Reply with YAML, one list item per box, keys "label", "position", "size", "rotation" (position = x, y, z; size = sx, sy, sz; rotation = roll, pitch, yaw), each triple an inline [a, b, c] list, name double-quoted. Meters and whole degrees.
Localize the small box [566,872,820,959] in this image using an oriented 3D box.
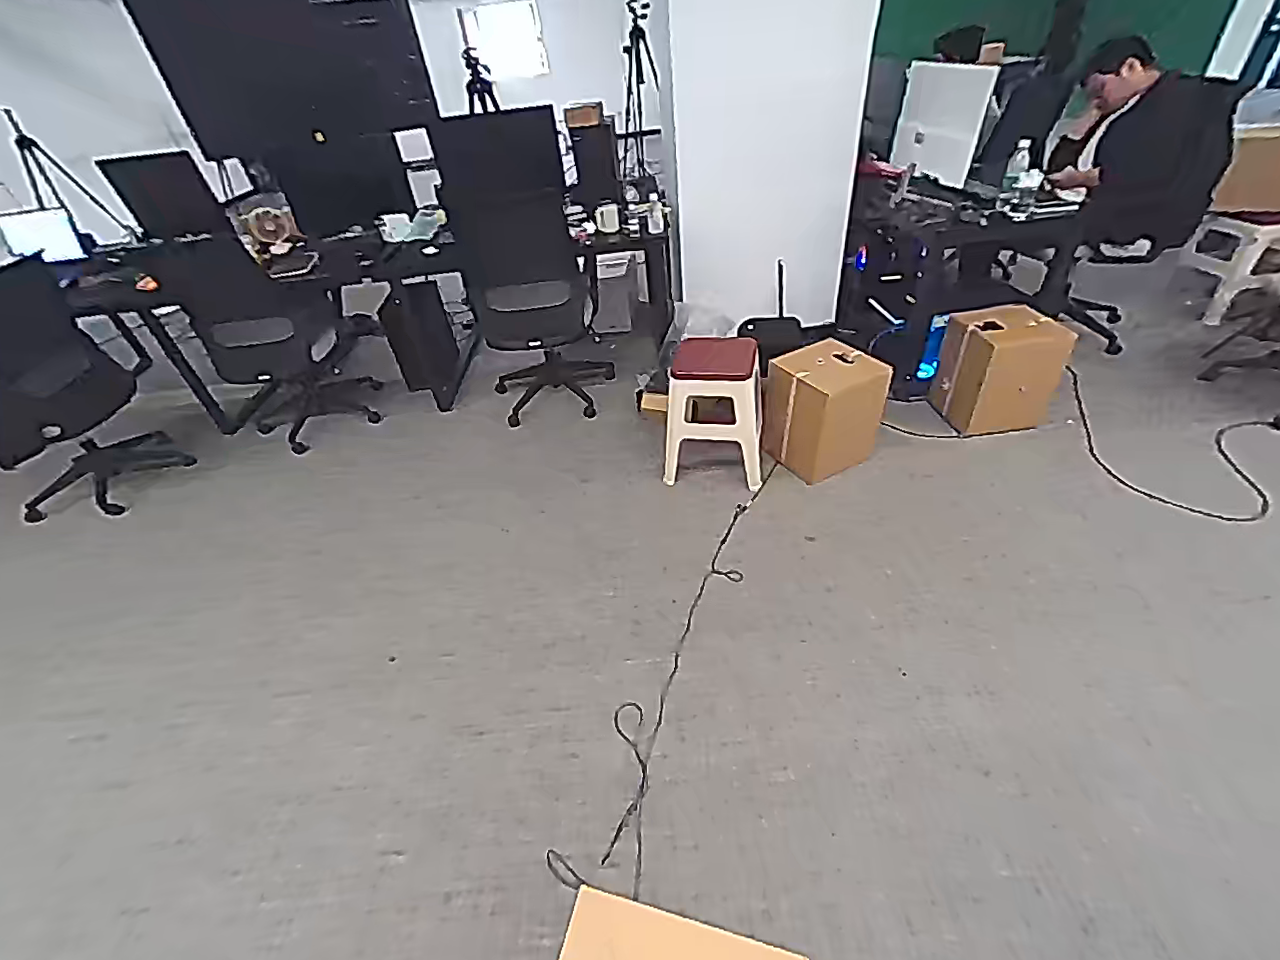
- label: "small box"
  position: [0.016, 0.407, 0.345]
  size: [0.168, 0.176, 0.179]
  rotation: [10, 31, 11]
